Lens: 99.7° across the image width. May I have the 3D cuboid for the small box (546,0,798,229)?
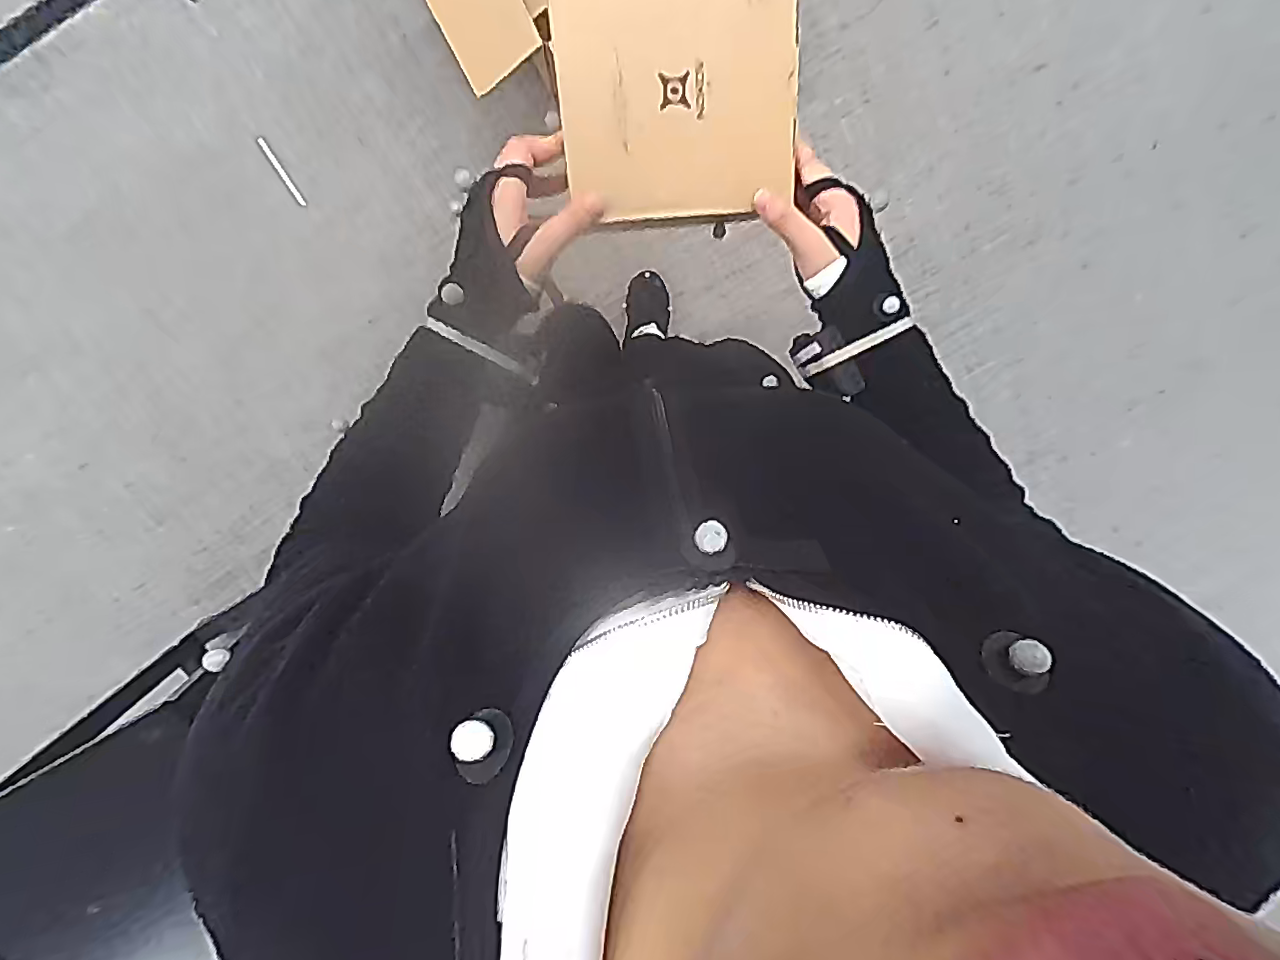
[{"bbox_3d":[0.021,-0.313,0.460,0.179,0.176,0.168,-6,112,-1],"label":"small box"}]
